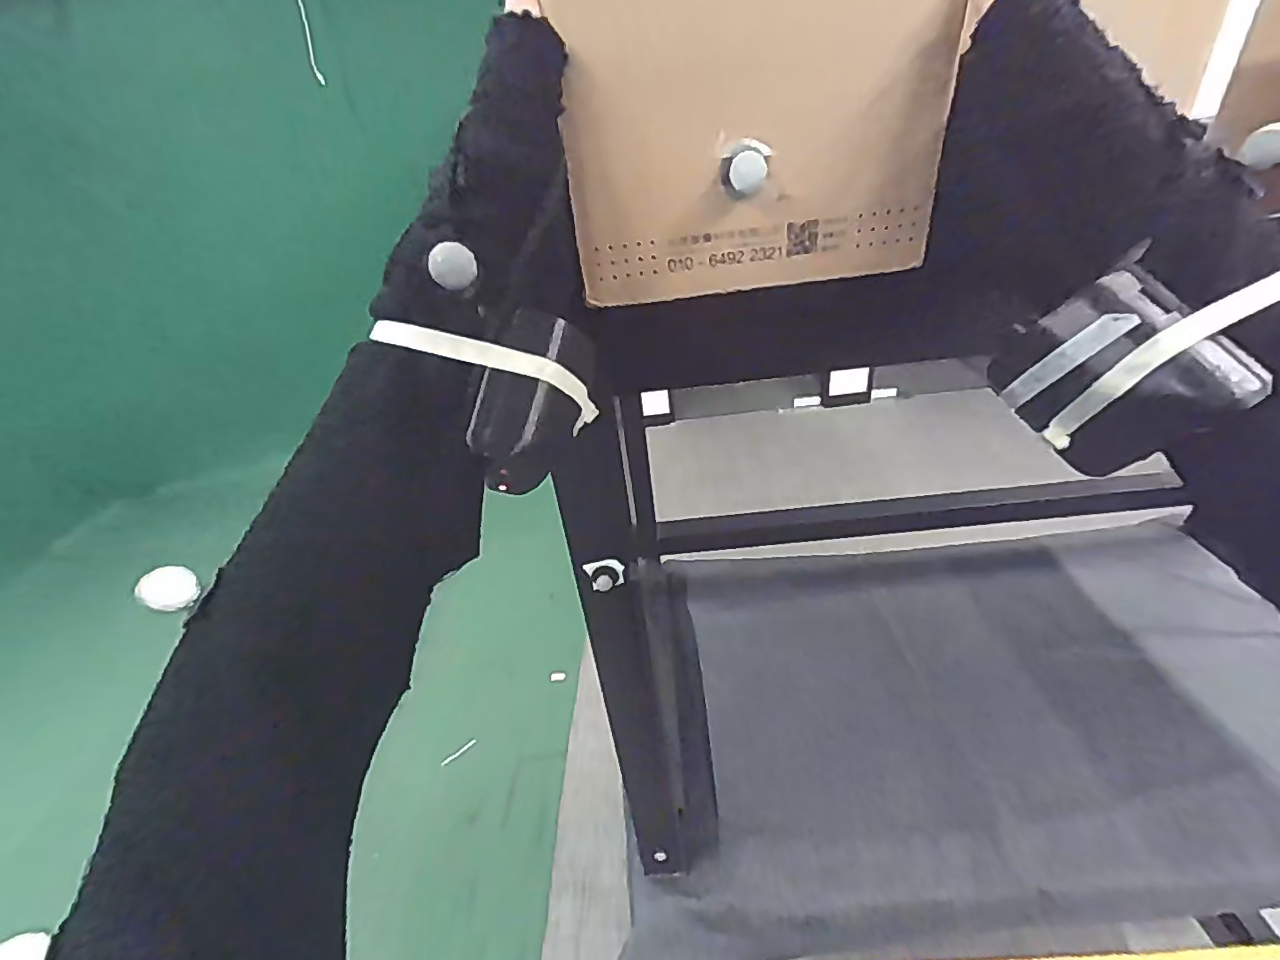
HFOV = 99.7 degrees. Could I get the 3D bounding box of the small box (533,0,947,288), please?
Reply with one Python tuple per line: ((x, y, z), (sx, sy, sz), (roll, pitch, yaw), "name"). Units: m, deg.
((0.036, -0.210, 0.288), (0.168, 0.176, 0.179), (-7, 33, 0), "small box")
